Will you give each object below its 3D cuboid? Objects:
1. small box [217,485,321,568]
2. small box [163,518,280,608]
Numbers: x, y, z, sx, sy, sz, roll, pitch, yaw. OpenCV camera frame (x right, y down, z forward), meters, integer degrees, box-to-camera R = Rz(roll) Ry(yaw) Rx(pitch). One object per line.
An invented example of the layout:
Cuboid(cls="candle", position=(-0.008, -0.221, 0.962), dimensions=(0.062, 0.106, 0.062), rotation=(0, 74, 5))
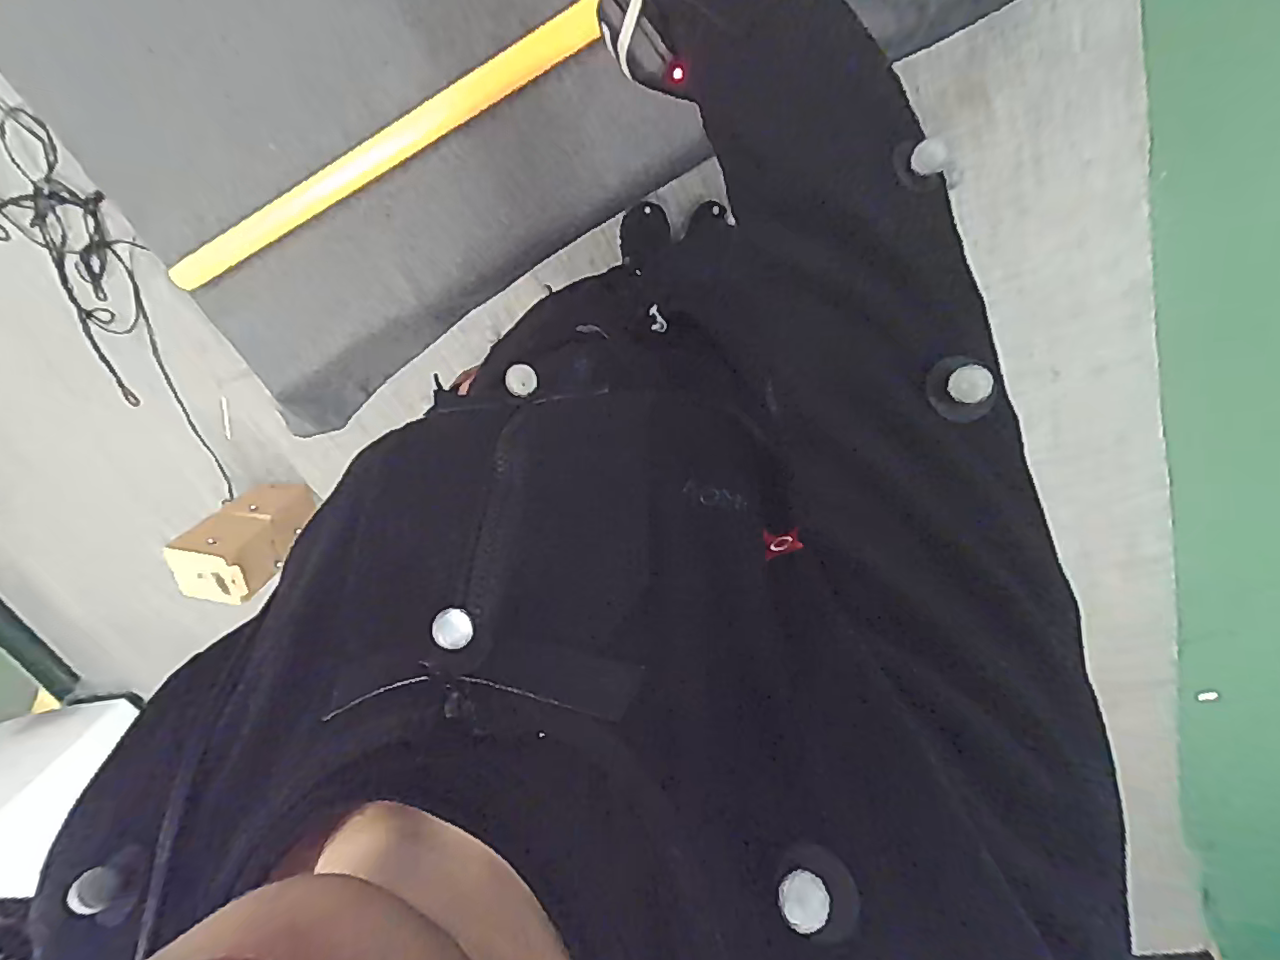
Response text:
Cuboid(cls="small box", position=(-1.093, 0.136, 1.612), dimensions=(0.168, 0.176, 0.179), rotation=(4, 120, 6))
Cuboid(cls="small box", position=(-1.123, 0.221, 1.473), dimensions=(0.179, 0.176, 0.168), rotation=(8, 120, 4))
